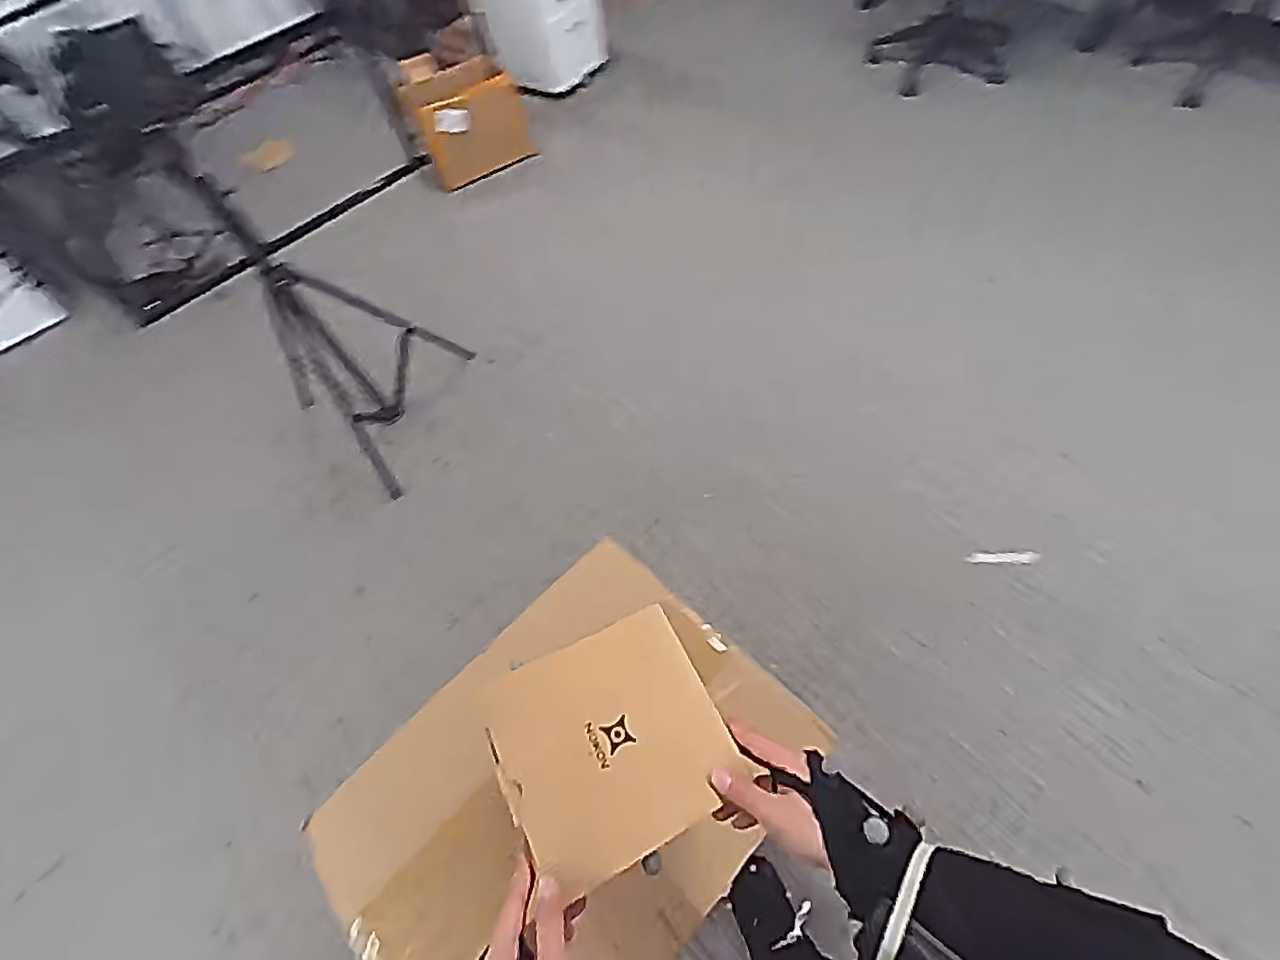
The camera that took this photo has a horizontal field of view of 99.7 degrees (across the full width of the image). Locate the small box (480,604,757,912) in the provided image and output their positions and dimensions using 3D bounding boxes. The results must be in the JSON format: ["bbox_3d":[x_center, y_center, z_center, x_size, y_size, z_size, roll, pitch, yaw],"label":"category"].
[{"bbox_3d":[-0.029,0.239,0.493,0.179,0.176,0.168,-21,66,-18],"label":"small box"}]
